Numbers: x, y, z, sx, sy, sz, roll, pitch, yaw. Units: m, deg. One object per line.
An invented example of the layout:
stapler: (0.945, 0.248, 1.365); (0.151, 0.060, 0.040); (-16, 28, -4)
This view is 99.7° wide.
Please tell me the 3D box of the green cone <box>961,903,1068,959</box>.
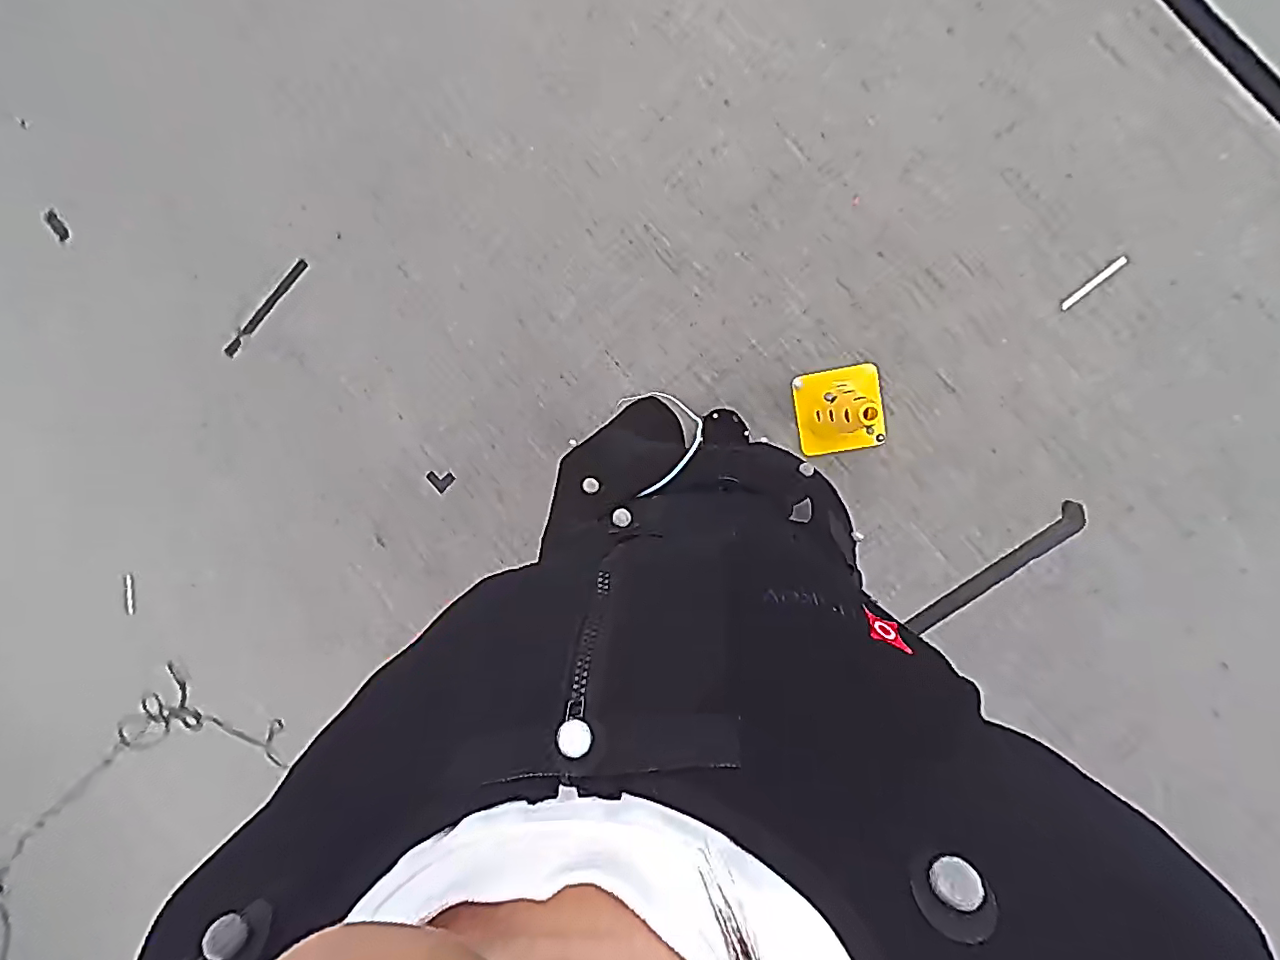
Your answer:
green cone: (0.959, 1.267, 1.275); (0.200, 0.368, 0.202); (33, 104, 5)
